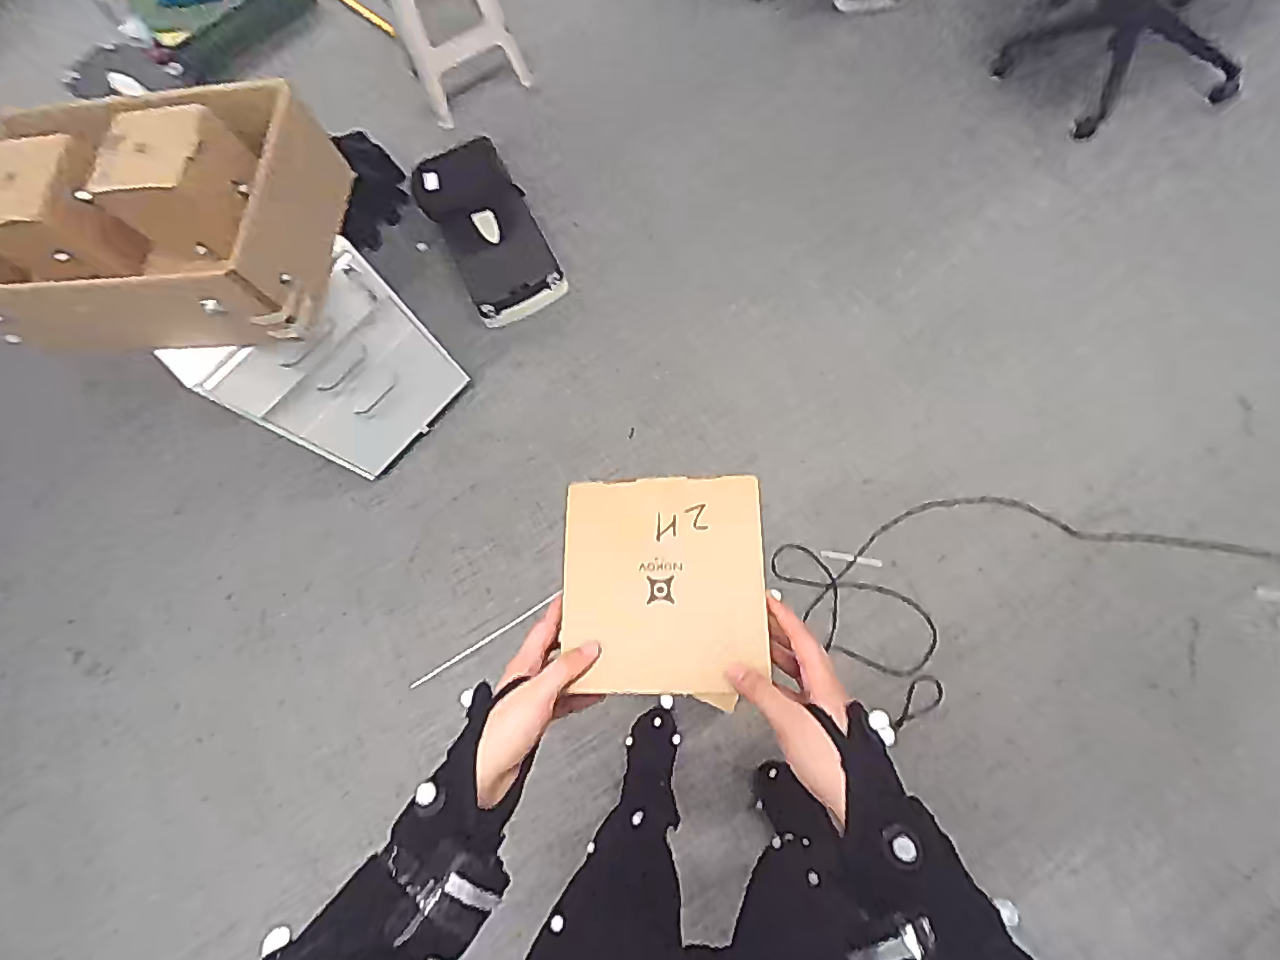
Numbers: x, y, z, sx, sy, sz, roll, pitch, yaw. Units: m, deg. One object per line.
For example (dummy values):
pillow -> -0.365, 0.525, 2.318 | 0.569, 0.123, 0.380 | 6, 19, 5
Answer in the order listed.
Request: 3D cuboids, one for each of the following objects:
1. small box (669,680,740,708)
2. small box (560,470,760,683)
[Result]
small box -> 0.159, 0.386, 1.215 | 0.168, 0.176, 0.179 | 20, 76, 14
small box -> 0.028, 0.100, 0.529 | 0.168, 0.176, 0.179 | -1, 72, 8
